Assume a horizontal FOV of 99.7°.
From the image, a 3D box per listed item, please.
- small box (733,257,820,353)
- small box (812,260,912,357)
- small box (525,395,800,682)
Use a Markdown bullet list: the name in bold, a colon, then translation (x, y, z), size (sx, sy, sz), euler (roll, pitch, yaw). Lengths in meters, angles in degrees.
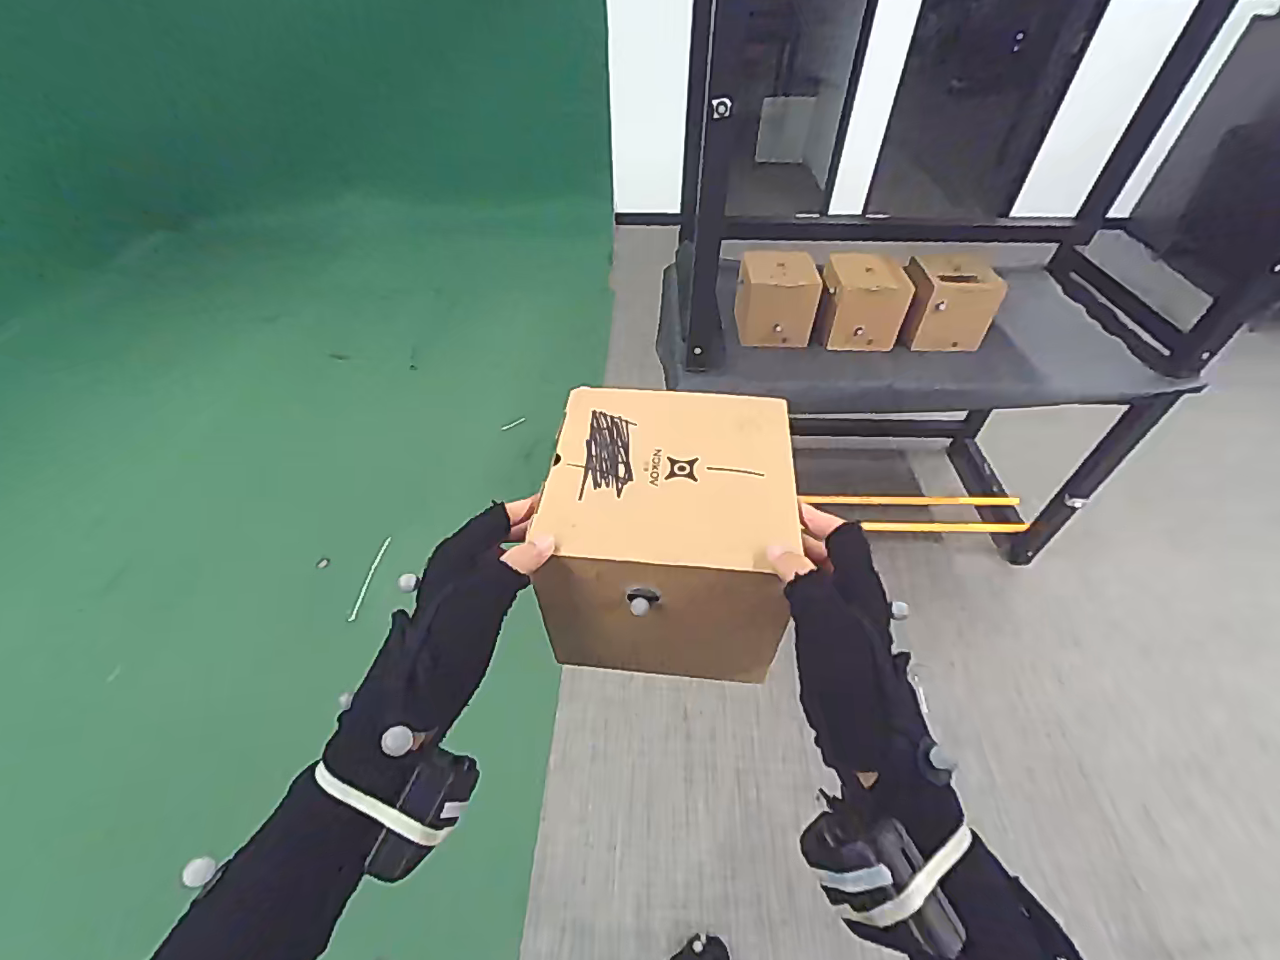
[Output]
- **small box**: translation (0.331, -0.437, 1.350), size (0.168, 0.176, 0.179), euler (0, 46, 1)
- **small box**: translation (0.539, -0.427, 1.346), size (0.168, 0.176, 0.179), euler (1, 47, 0)
- **small box**: translation (0.022, 0.050, 0.446), size (0.179, 0.176, 0.168), euler (5, 48, 4)
